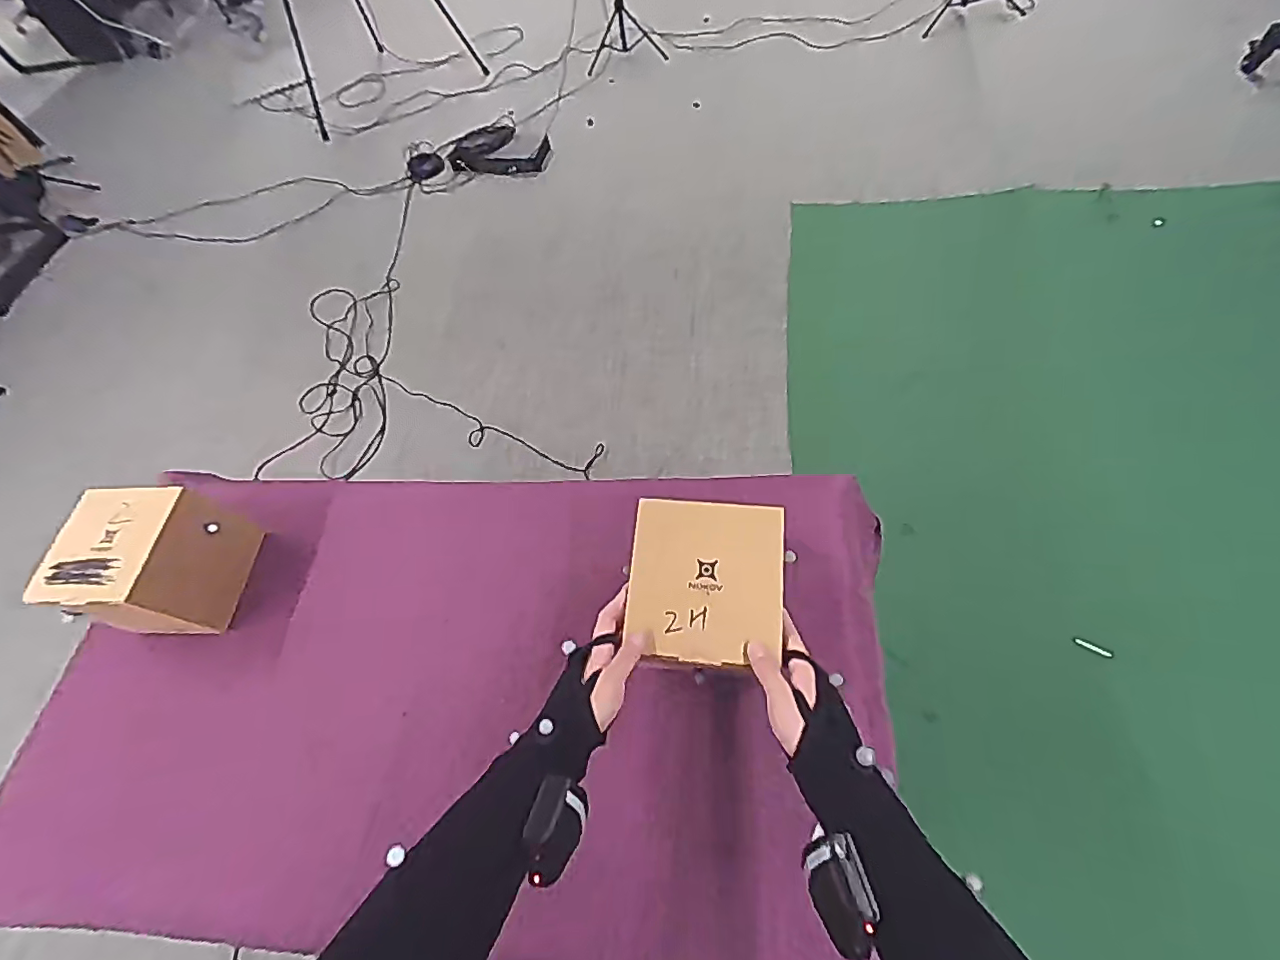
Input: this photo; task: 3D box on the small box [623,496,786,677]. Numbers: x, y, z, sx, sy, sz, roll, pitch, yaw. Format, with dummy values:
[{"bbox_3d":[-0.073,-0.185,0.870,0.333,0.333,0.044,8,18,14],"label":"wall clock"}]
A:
[{"bbox_3d":[0.080,0.135,0.657,0.168,0.176,0.179,4,68,9],"label":"small box"}]
